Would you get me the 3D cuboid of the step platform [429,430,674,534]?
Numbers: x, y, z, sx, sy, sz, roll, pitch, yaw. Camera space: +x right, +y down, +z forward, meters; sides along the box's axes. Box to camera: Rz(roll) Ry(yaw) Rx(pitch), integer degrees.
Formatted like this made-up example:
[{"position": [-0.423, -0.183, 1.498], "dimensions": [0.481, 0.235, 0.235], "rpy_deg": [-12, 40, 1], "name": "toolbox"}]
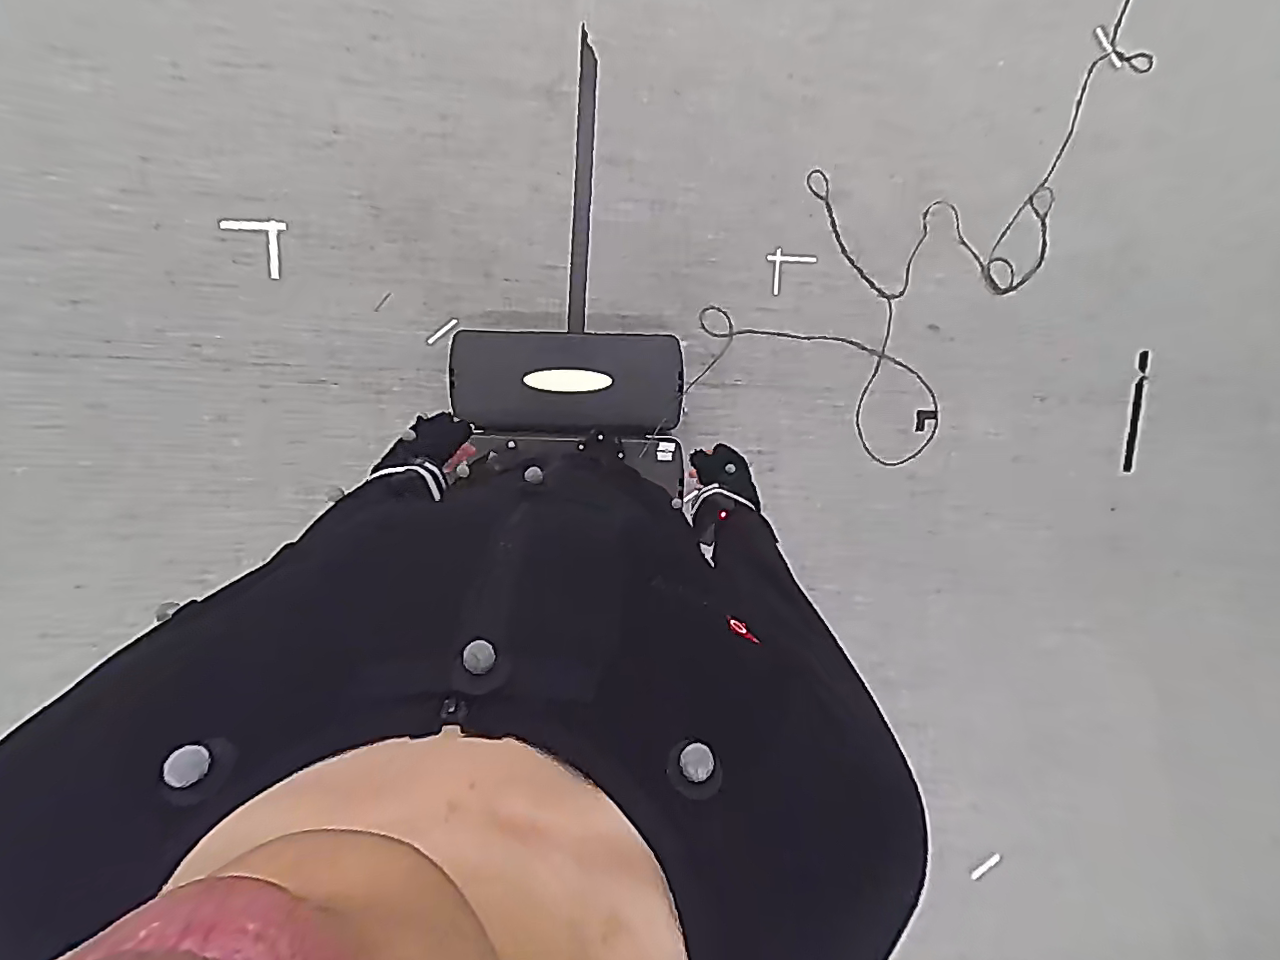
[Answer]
[{"position": [-0.243, 0.004, 1.557], "dimensions": [0.684, 0.204, 0.286], "rpy_deg": [1, 95, -4], "name": "step platform"}]
